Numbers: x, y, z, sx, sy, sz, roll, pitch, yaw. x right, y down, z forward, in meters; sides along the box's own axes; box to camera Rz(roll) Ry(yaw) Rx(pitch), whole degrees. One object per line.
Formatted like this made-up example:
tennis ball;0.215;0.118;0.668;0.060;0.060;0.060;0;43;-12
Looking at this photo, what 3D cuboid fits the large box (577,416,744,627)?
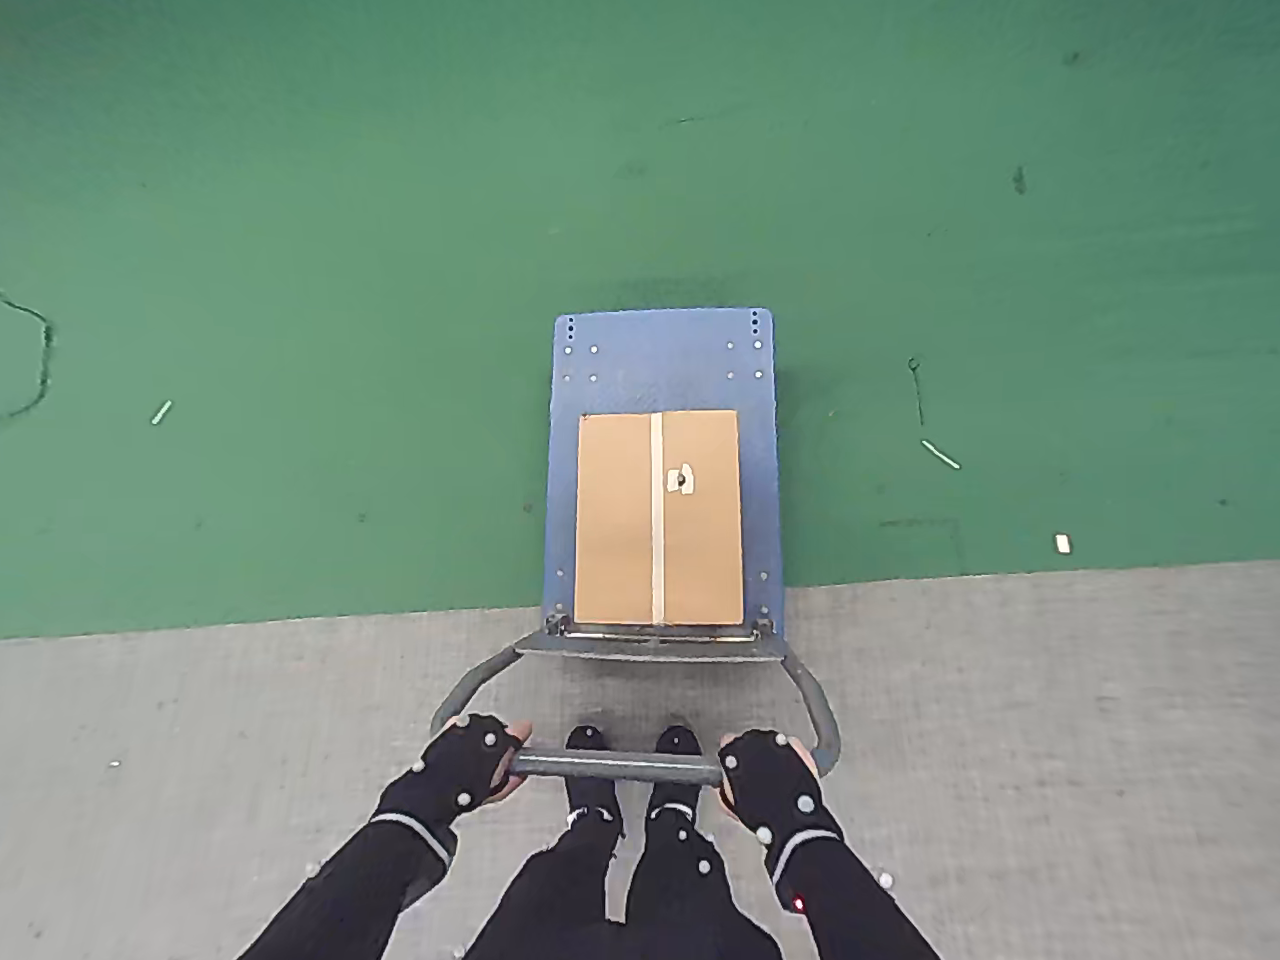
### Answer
large box;0.052;0.103;1.174;0.320;0.320;0.408;-1;79;6
